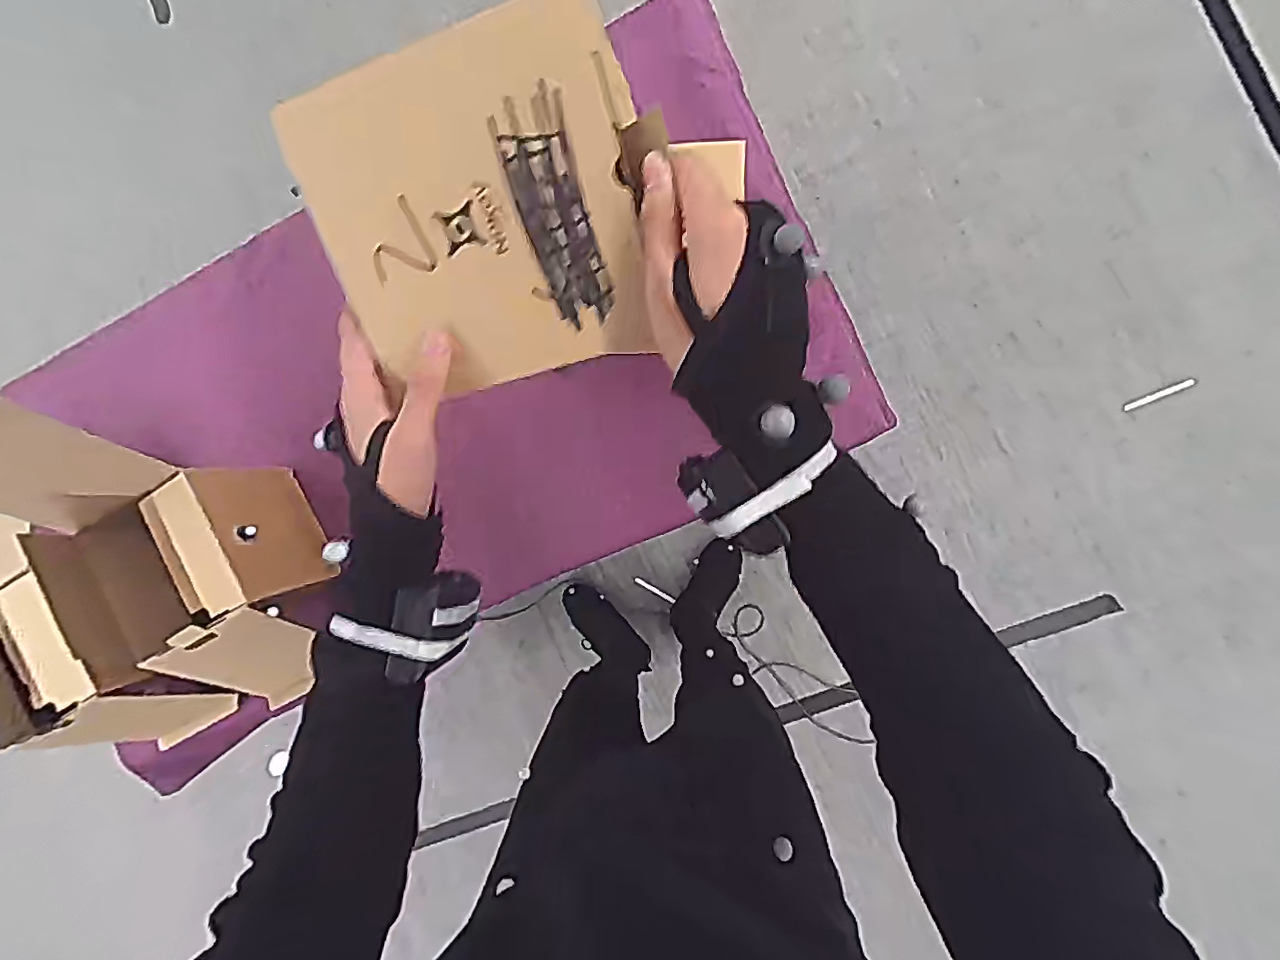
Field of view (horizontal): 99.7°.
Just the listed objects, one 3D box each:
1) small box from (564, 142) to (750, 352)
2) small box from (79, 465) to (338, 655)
[{"bbox_3d":[0.025,-0.241,0.598,0.179,0.176,0.168,2,92,9],"label":"small box"},{"bbox_3d":[-0.536,0.089,0.697,0.168,0.176,0.179,-27,88,8],"label":"small box"}]
